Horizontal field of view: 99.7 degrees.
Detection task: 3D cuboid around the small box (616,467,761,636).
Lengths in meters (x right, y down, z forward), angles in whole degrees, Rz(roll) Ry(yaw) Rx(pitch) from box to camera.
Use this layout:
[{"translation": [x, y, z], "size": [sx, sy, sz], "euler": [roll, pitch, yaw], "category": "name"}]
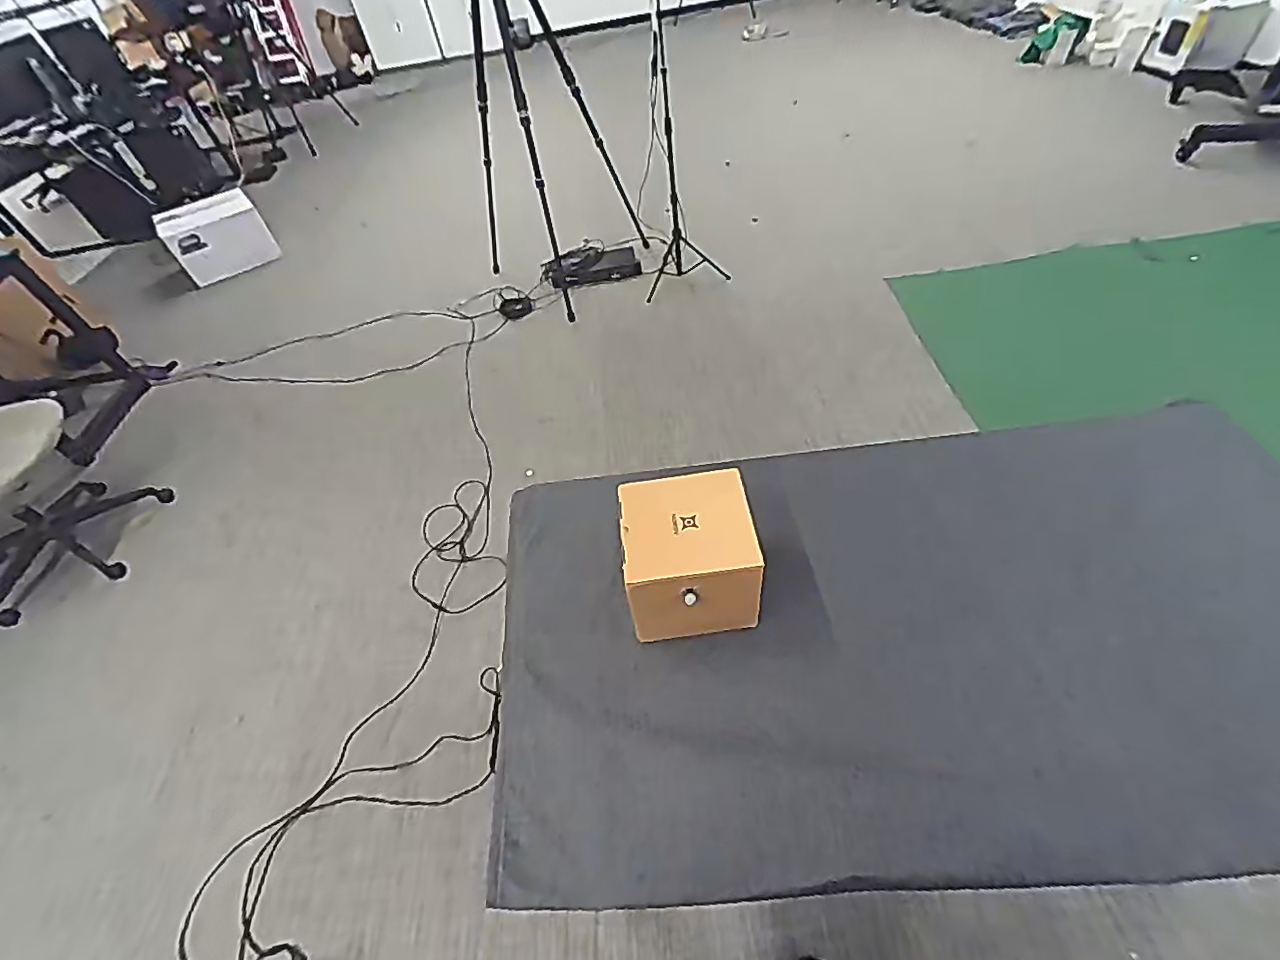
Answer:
[{"translation": [0.067, 0.106, 0.776], "size": [0.179, 0.176, 0.168], "euler": [-9, 49, 3], "category": "small box"}]
